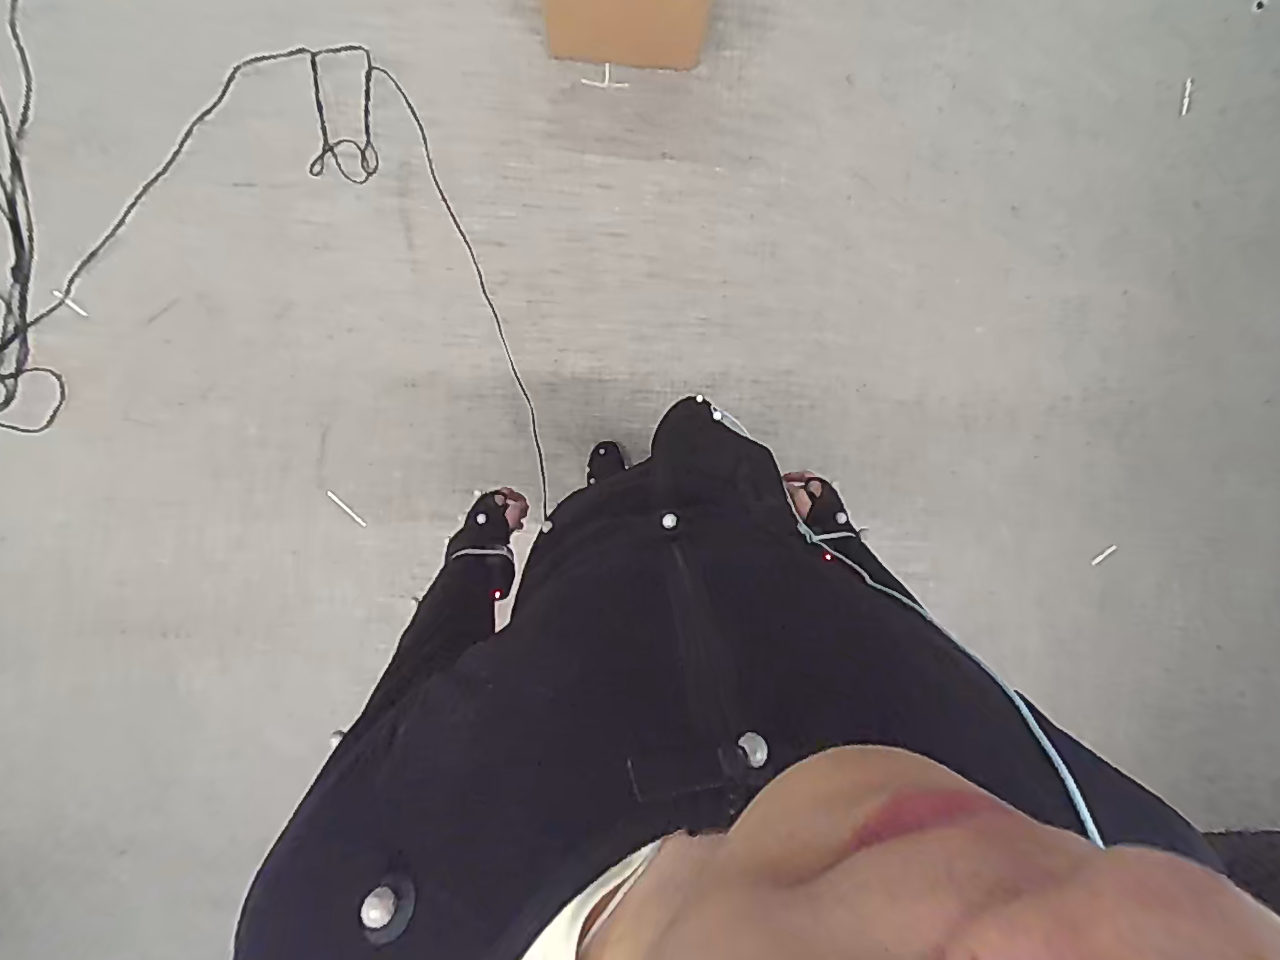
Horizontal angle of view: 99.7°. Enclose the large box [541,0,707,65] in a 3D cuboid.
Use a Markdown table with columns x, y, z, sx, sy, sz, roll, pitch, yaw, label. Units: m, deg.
| x | y | z | sx | sy | sz | roll | pitch | yaw | label |
| --- | --- | --- | --- | --- | --- | --- | --- | --- | --- |
| -0.047 | -1.295 | 1.340 | 0.408 | 0.320 | 0.320 | 0 | 97 | -5 | large box |
